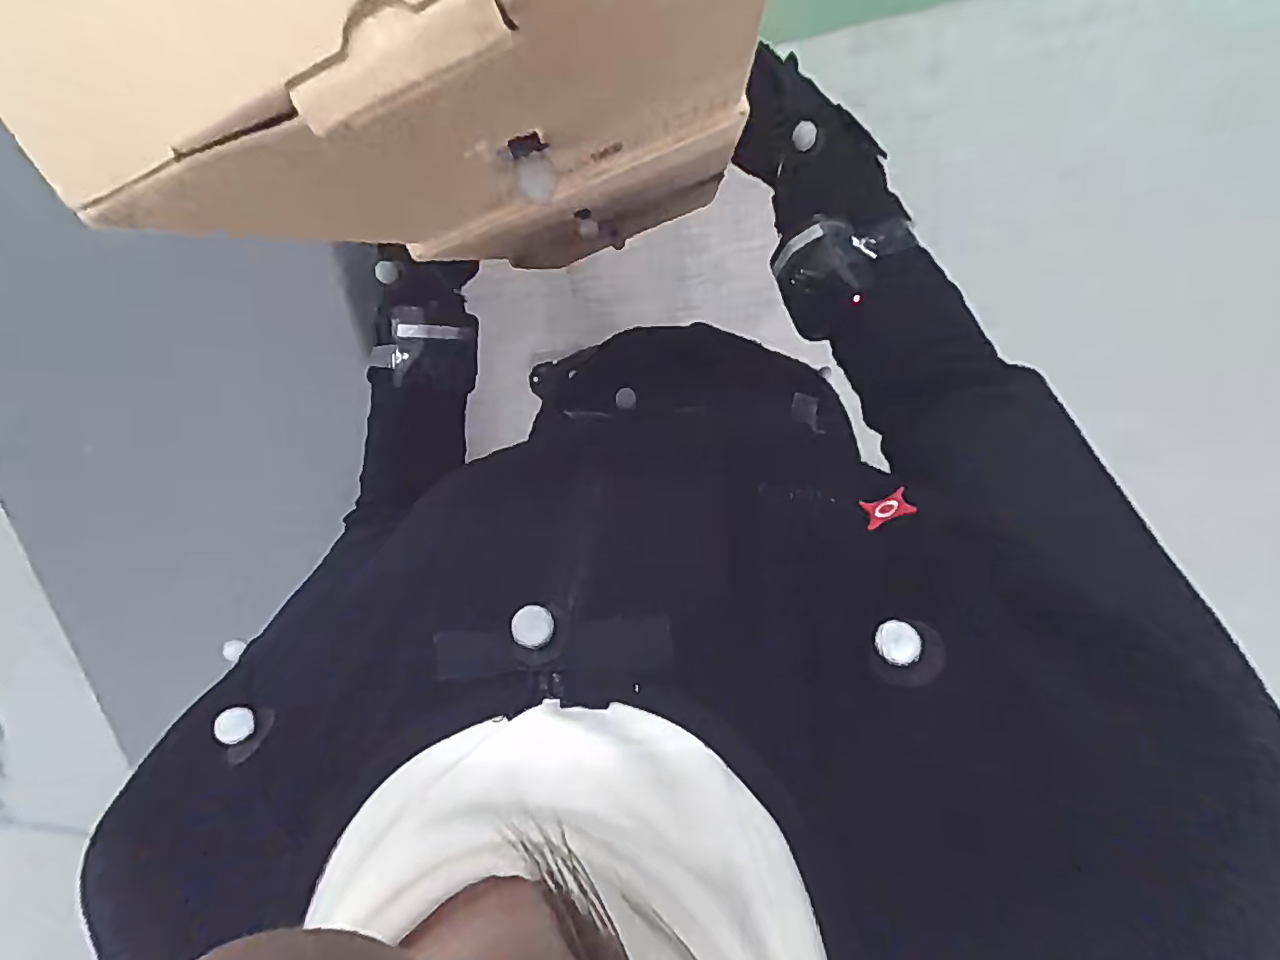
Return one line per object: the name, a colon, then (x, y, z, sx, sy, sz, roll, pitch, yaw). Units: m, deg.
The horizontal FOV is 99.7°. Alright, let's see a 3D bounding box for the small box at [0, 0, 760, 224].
small box: (-0.063, -0.186, 0.148, 0.168, 0.176, 0.179, -15, 110, 12)
